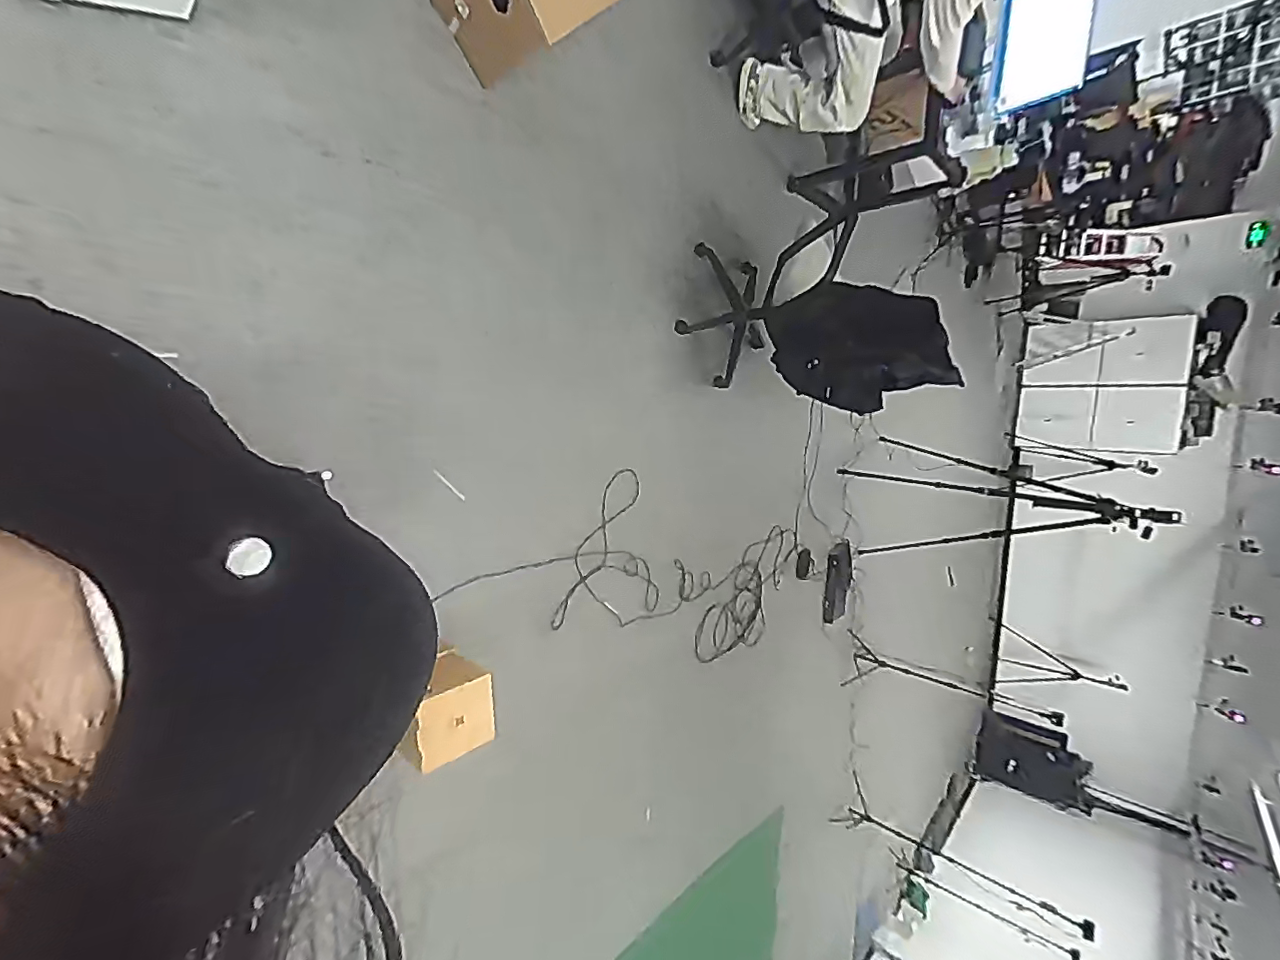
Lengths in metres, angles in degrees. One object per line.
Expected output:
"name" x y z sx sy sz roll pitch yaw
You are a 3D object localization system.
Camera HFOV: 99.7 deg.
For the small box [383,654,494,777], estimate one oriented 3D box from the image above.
"small box" -0.454 0.517 1.220 0.179 0.176 0.168 -11 103 -45
